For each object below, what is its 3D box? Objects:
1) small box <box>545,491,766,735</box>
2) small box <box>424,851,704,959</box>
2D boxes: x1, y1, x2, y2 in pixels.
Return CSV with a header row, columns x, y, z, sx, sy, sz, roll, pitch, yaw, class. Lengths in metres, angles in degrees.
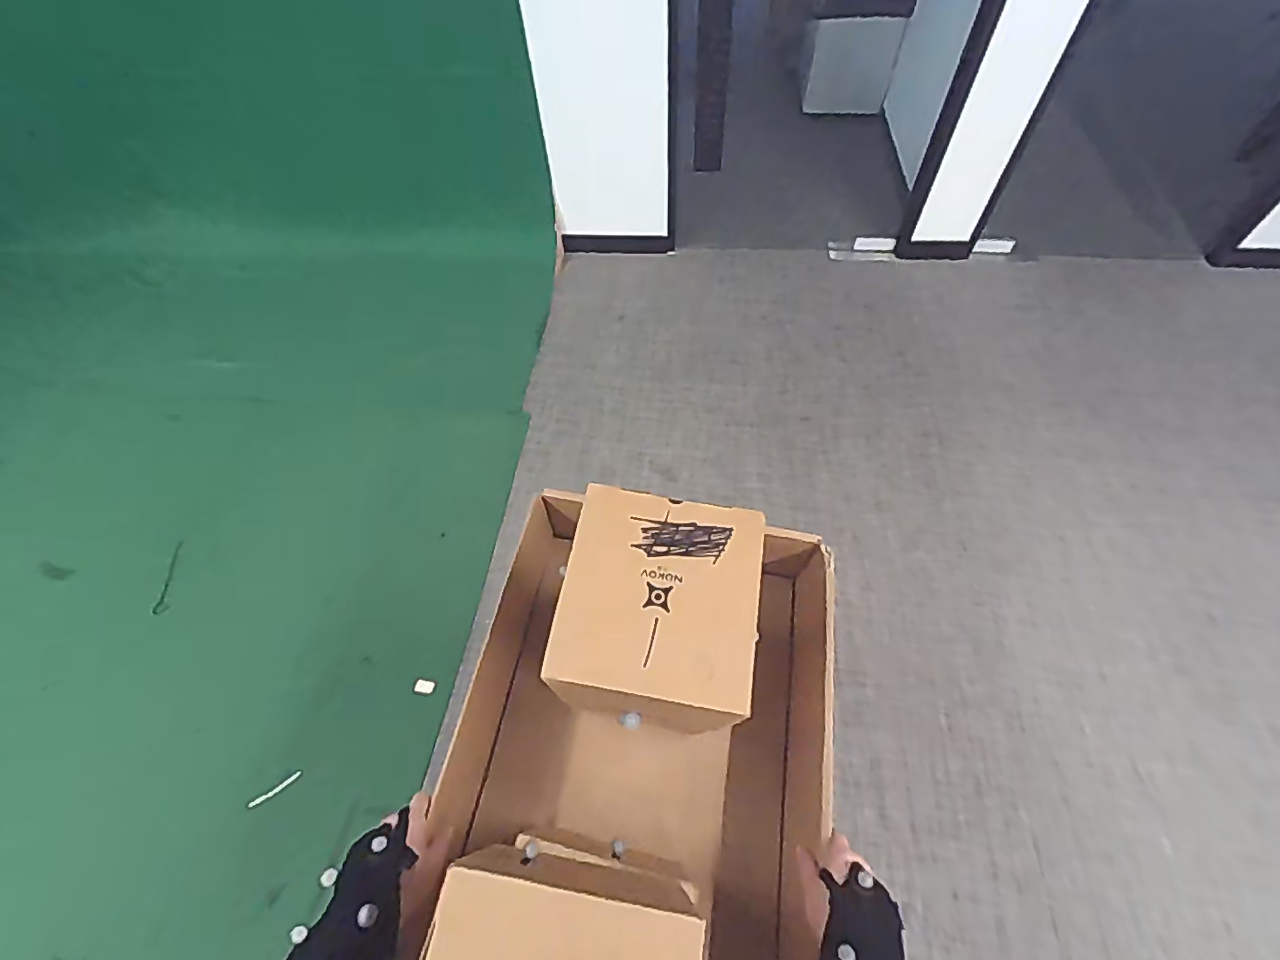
x,y,z,sx,sy,sz,roll,pitch,yaw,class
0.017,0.136,0.527,0.168,0.176,0.179,10,62,4,small box
-0.059,0.385,0.390,0.179,0.176,0.168,10,61,2,small box
